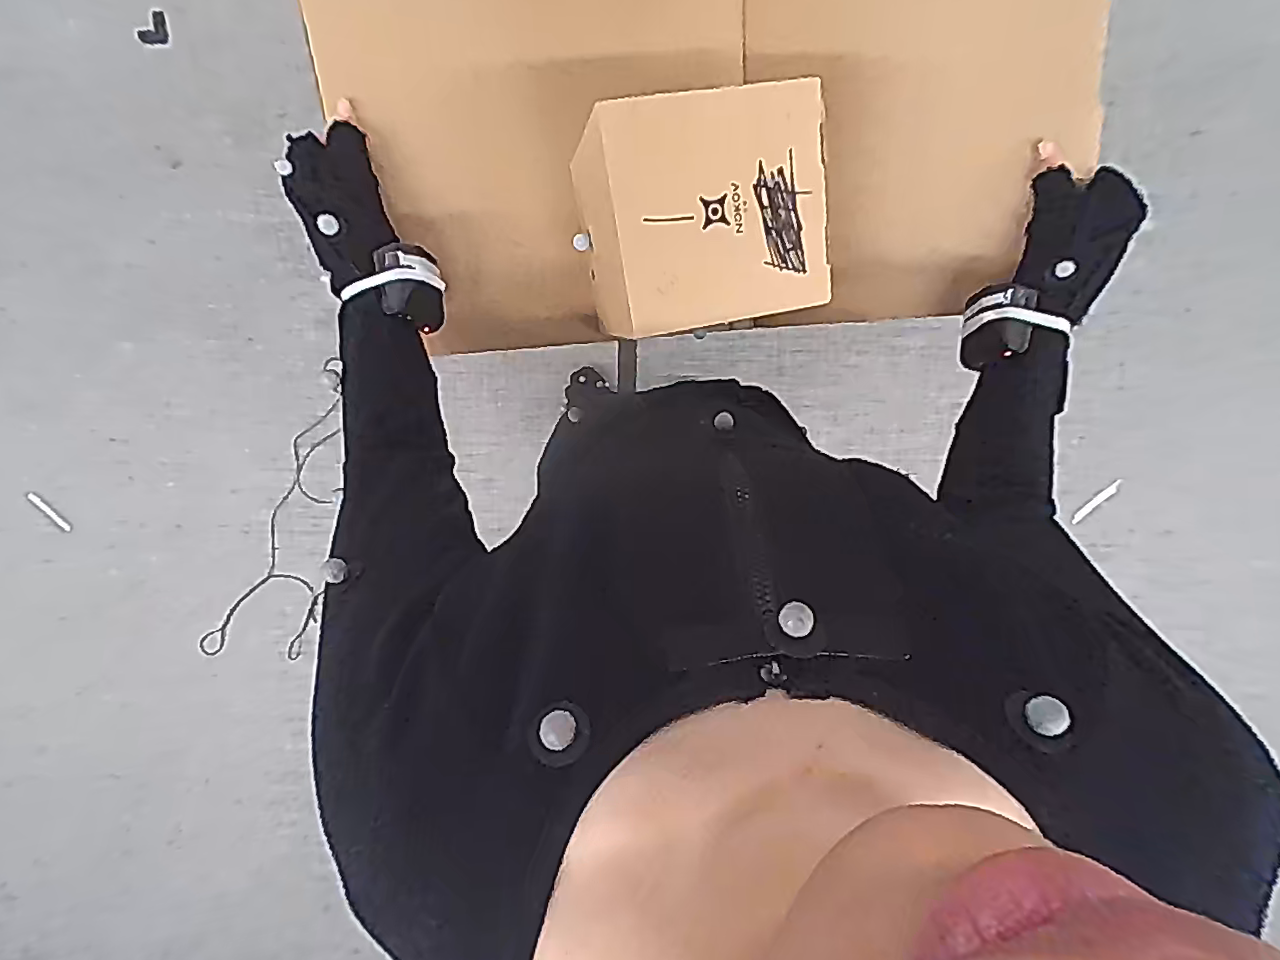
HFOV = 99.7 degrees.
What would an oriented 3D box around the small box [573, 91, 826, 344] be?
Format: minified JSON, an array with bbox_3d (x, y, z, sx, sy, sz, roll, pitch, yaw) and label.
[{"bbox_3d":[0.046,-0.226,0.496,0.179,0.176,0.168,-13,109,-9],"label":"small box"}]
